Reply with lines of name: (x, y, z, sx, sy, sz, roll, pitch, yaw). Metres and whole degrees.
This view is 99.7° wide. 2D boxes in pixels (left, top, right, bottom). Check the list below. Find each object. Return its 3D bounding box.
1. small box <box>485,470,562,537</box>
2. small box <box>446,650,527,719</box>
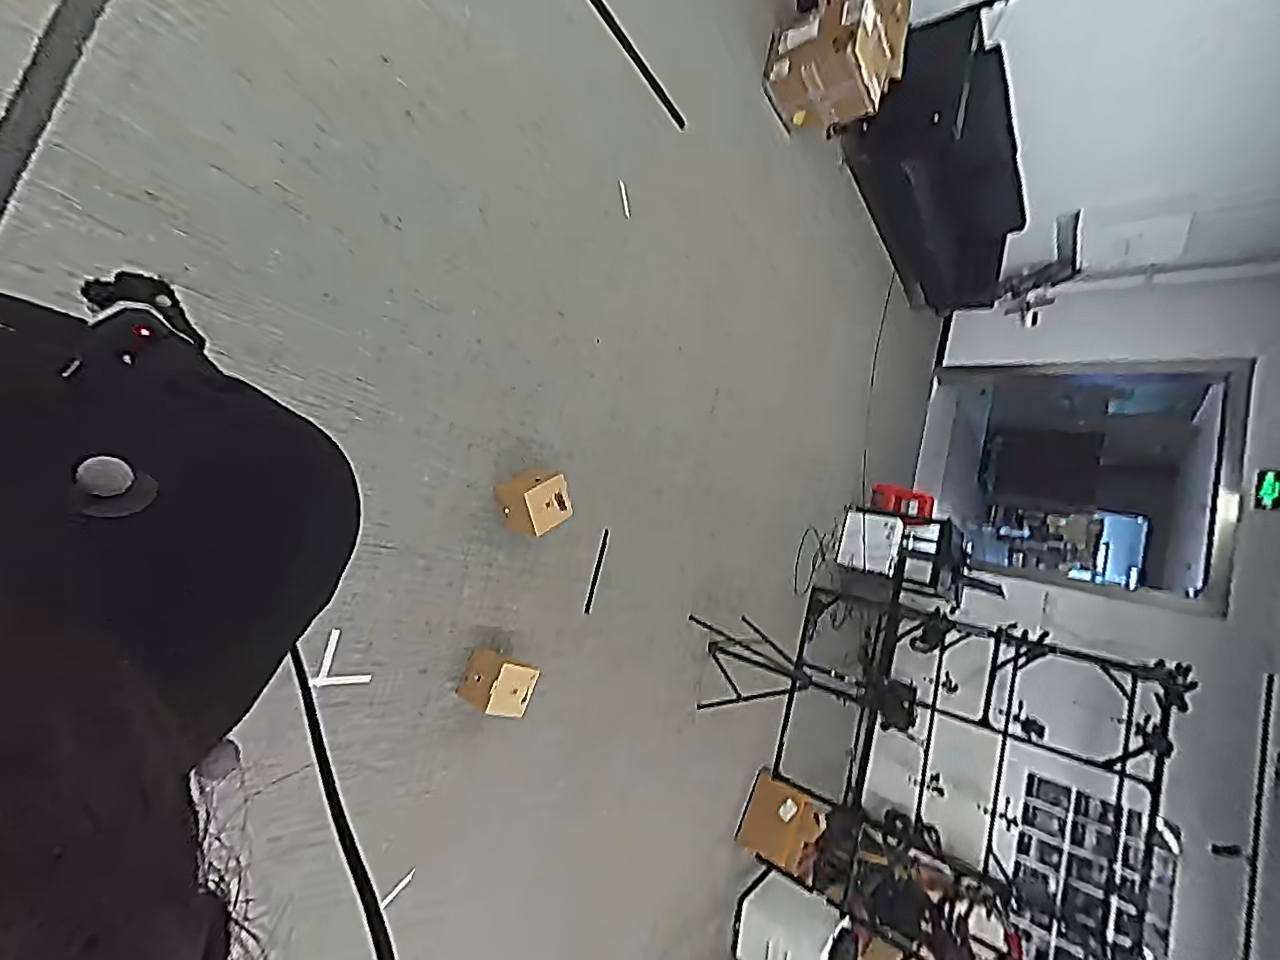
small box: (-0.404, 0.075, 1.877, 0.179, 0.176, 0.168, -33, 121, -42)
small box: (-0.526, 0.694, 1.842, 0.179, 0.176, 0.168, 37, 68, -47)
